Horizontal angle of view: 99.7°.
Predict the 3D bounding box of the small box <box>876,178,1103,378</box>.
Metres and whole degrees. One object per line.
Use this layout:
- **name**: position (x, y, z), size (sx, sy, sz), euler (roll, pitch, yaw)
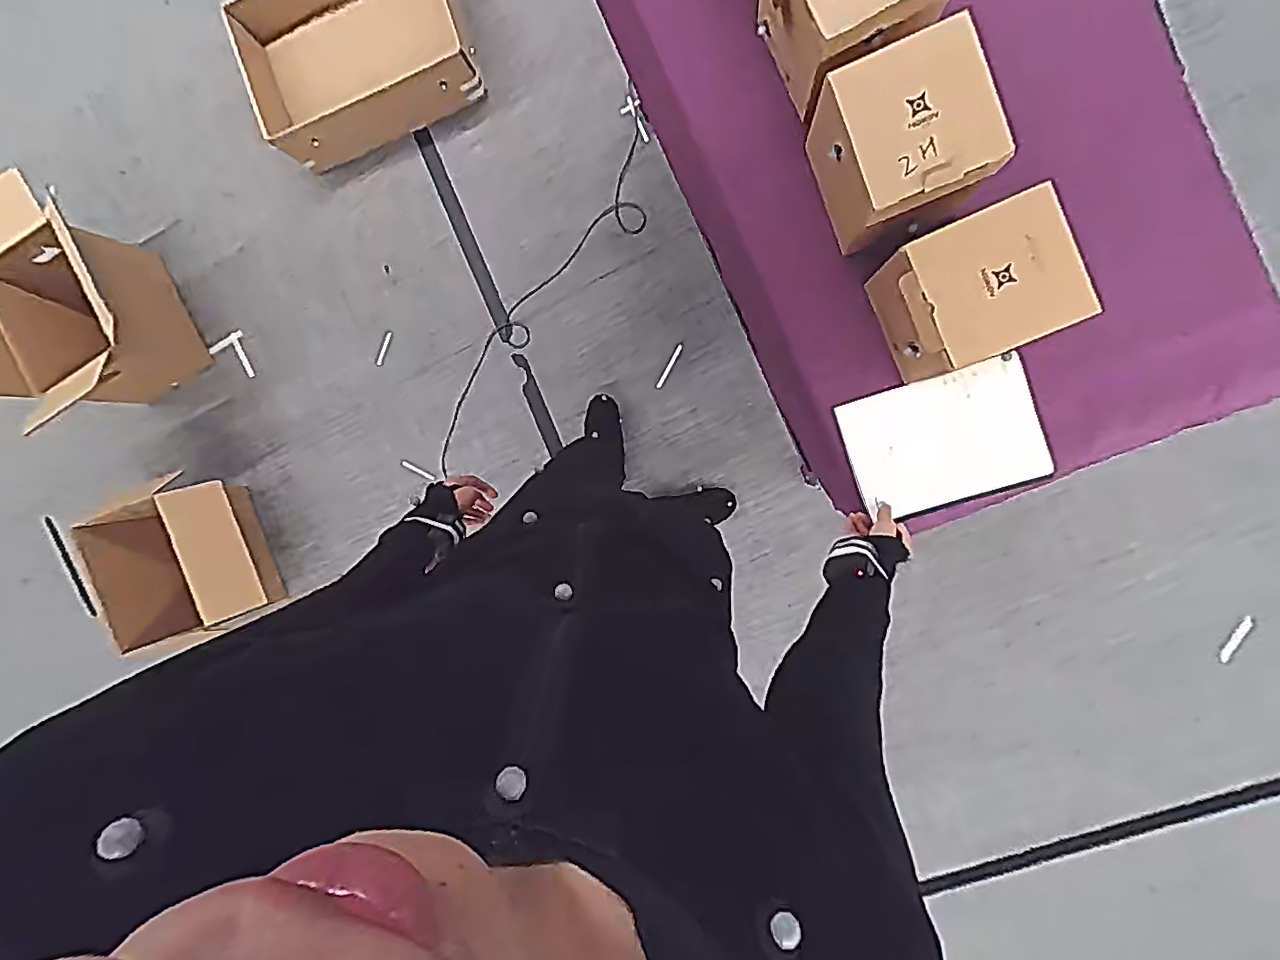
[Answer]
- **small box**: position (0.430, -0.244, 0.706), size (0.179, 0.176, 0.168), euler (-23, 92, 9)
